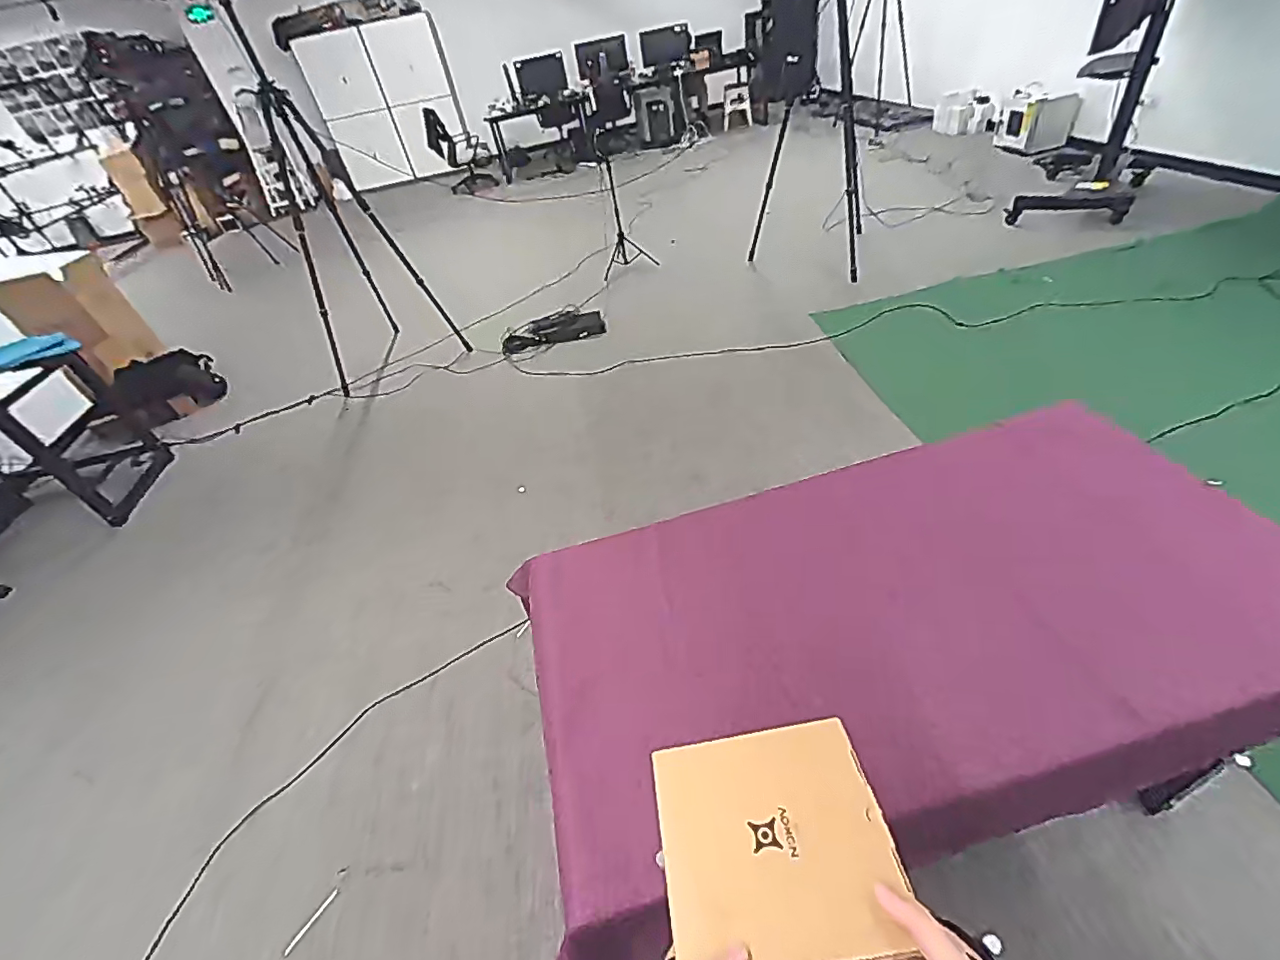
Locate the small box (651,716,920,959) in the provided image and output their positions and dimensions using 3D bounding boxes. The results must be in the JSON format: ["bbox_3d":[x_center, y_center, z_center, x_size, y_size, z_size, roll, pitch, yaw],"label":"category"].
[{"bbox_3d":[0.117,0.342,0.476,0.179,0.176,0.168,-12,35,2],"label":"small box"}]
